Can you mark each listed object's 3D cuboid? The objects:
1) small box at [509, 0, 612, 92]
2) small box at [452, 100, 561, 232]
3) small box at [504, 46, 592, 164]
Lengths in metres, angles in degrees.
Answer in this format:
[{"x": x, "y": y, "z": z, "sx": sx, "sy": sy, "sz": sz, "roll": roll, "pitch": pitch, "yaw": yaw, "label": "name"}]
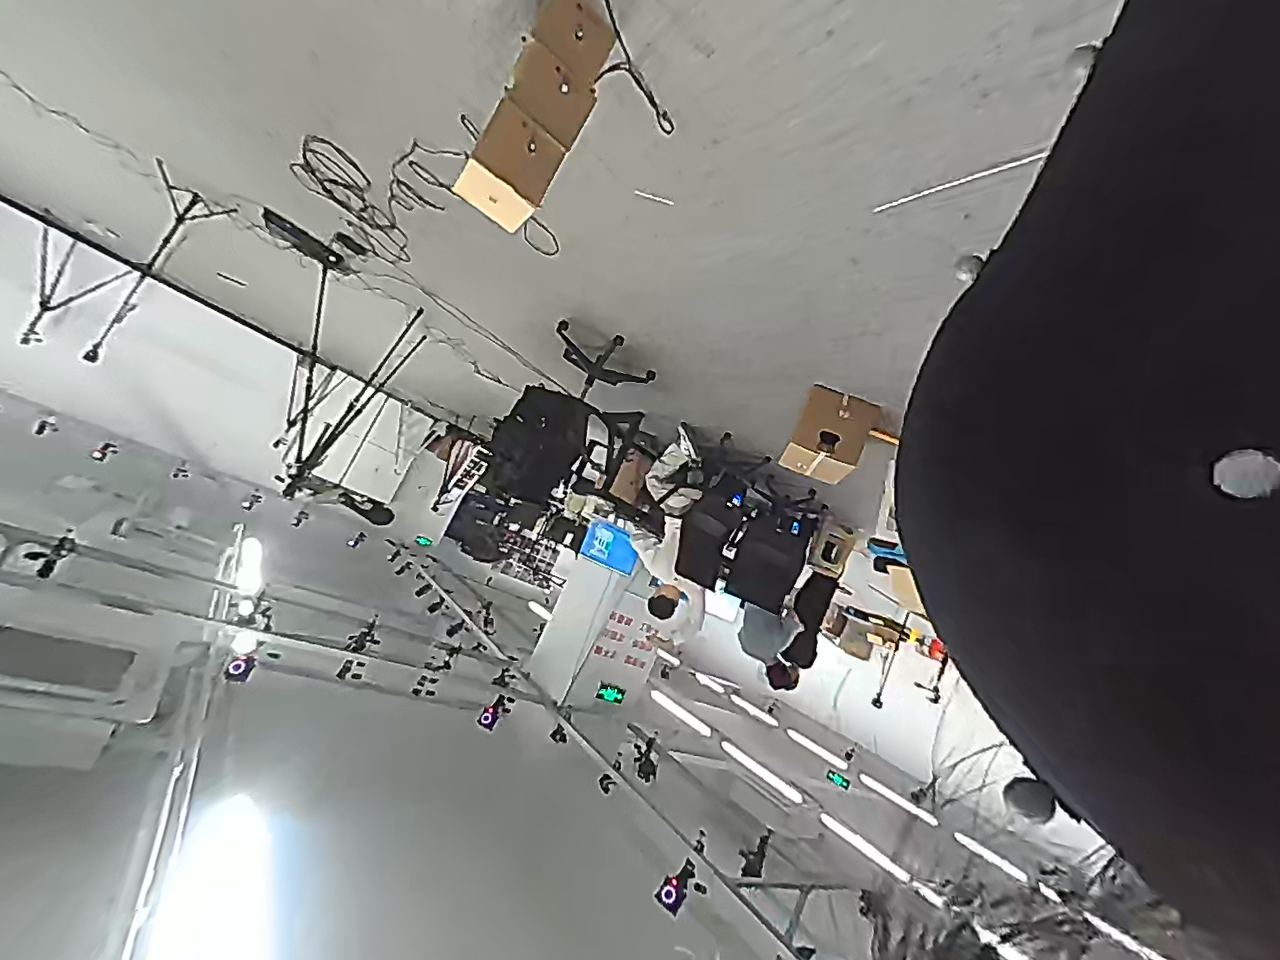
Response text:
[{"x": -0.190, "y": -1.023, "z": 1.314, "sx": 0.168, "sy": 0.176, "sz": 0.179, "roll": 30, "pitch": 169, "yaw": -27, "label": "small box"}, {"x": -0.308, "y": -0.724, "z": 1.259, "sx": 0.168, "sy": 0.176, "sz": 0.179, "roll": 29, "pitch": 168, "yaw": -29, "label": "small box"}, {"x": -0.240, "y": -0.868, "z": 1.293, "sx": 0.168, "sy": 0.176, "sz": 0.179, "roll": 29, "pitch": 168, "yaw": -31, "label": "small box"}]
